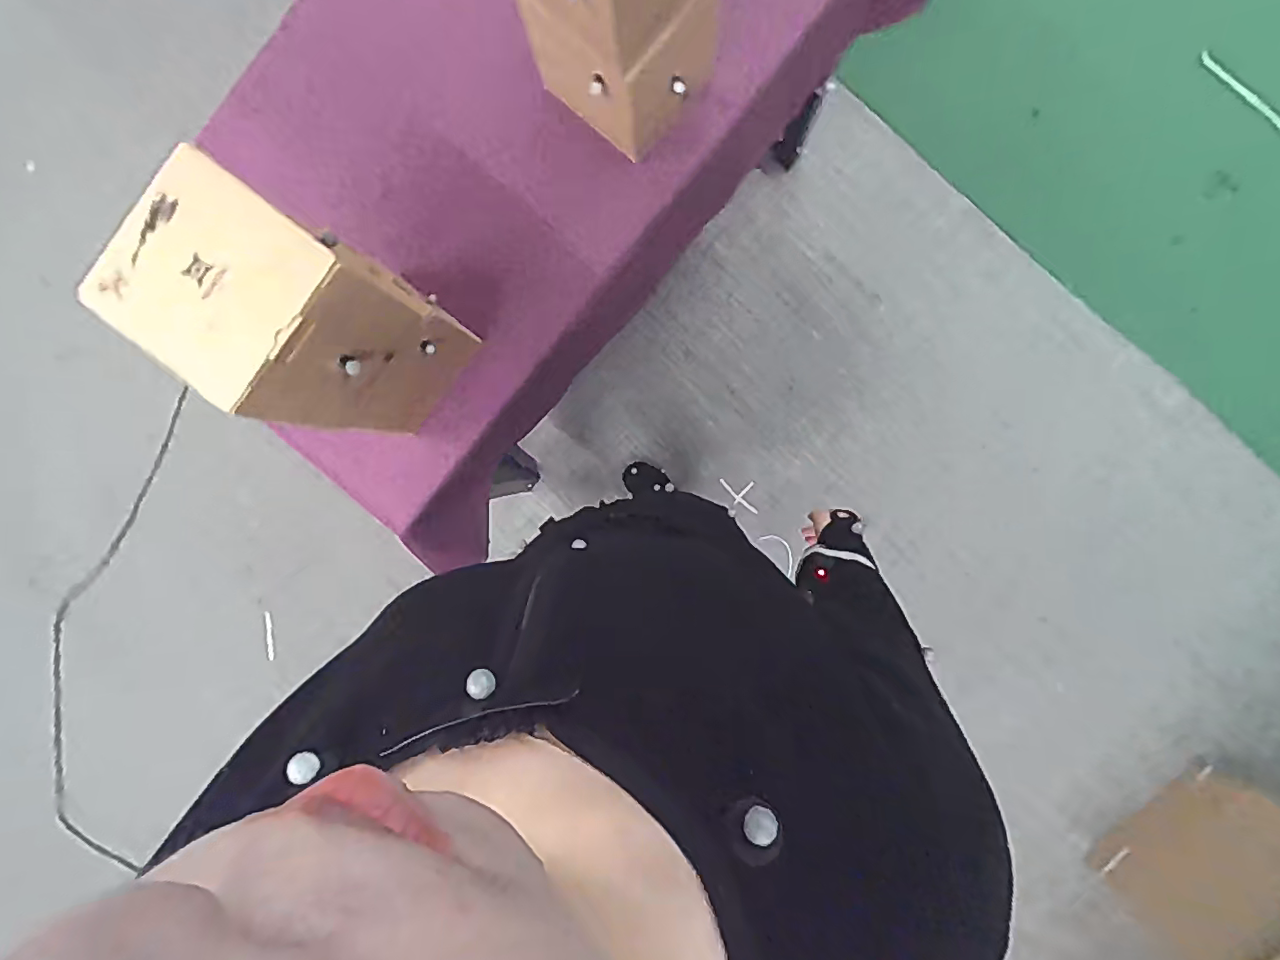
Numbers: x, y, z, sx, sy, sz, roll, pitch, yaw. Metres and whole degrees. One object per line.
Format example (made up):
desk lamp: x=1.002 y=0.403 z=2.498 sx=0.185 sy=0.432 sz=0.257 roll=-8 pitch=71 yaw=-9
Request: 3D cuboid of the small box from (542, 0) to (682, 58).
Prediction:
small box: x=-0.031 y=-0.559 z=0.512 sx=0.179 sy=0.176 sz=0.168 roll=43 pitch=93 yaw=2

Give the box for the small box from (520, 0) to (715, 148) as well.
small box: x=-0.018 y=-0.560 z=0.675 sx=0.179 sy=0.176 sz=0.168 roll=41 pitch=93 yaw=2

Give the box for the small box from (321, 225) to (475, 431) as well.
small box: x=-0.347 y=-0.180 z=0.705 sx=0.168 sy=0.176 sz=0.179 roll=38 pitch=92 yaw=2

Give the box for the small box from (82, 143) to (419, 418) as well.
small box: x=-0.362 y=-0.176 z=0.541 sx=0.179 sy=0.176 sz=0.168 roll=38 pitch=92 yaw=2
